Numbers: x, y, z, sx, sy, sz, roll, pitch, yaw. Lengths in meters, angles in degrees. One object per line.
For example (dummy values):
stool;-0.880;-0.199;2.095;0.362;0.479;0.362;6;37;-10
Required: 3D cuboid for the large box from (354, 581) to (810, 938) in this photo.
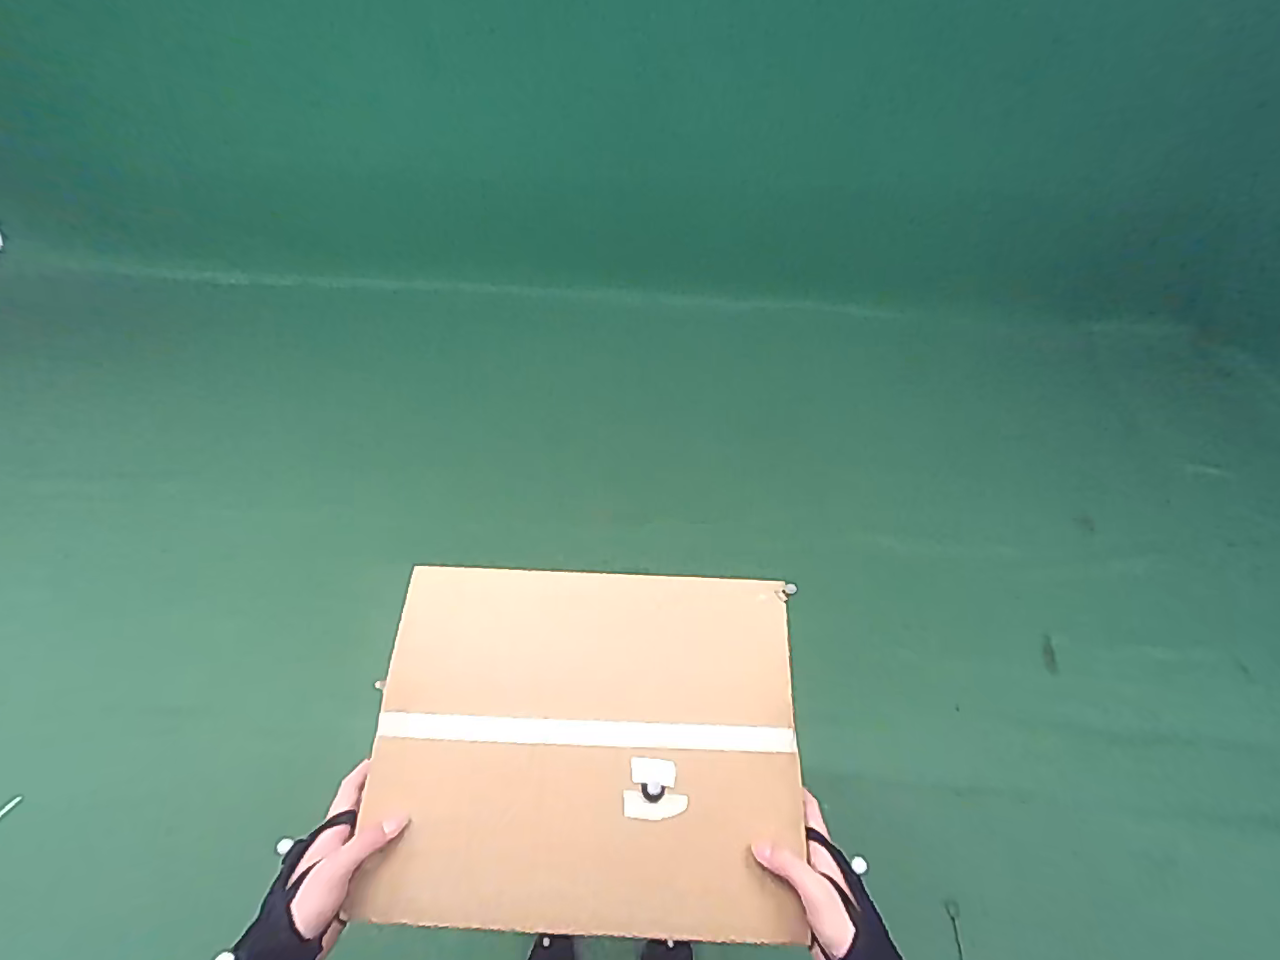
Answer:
large box;-0.052;0.318;0.663;0.408;0.320;0.320;2;65;0
